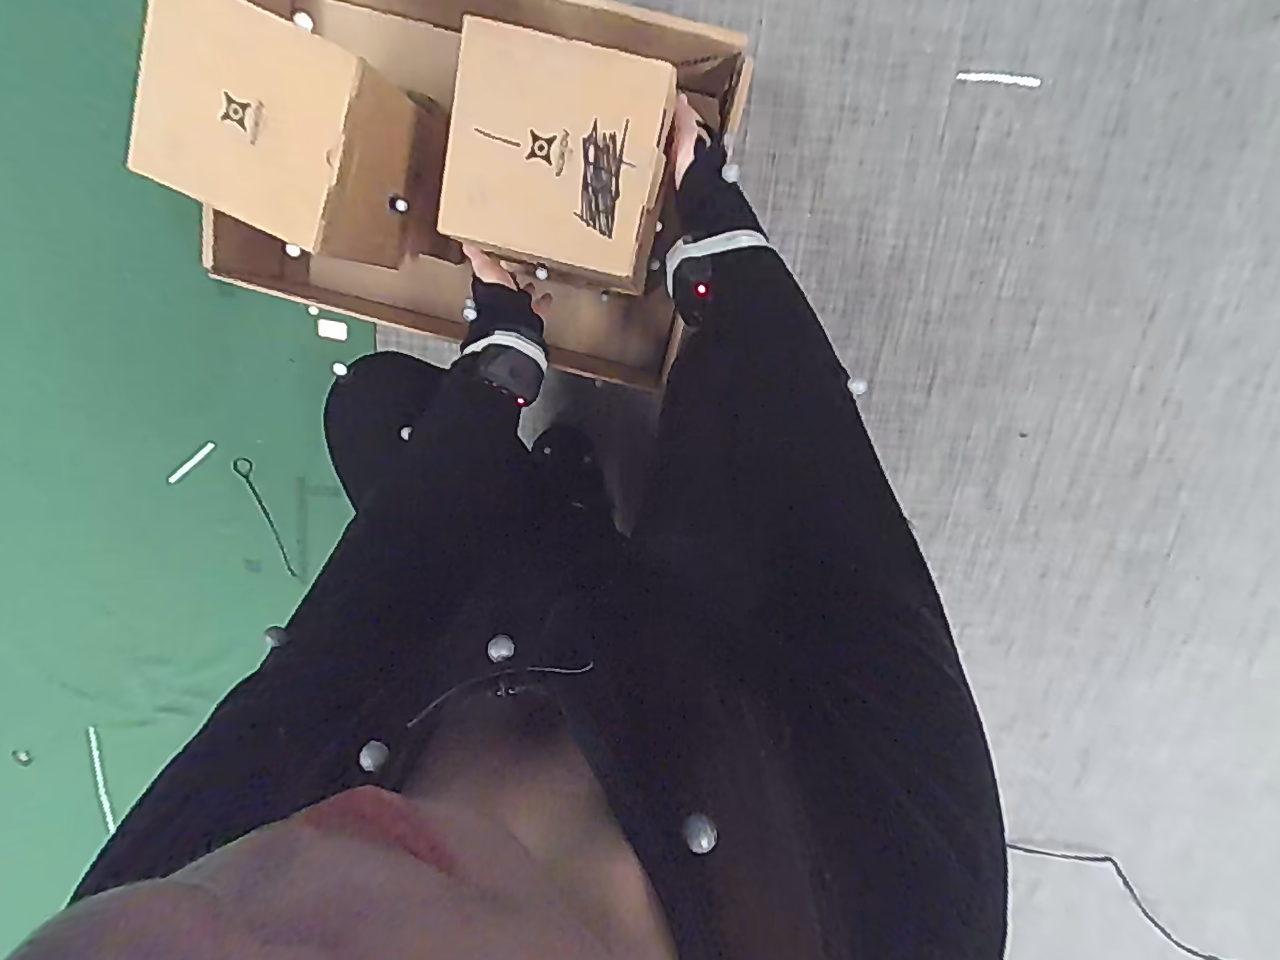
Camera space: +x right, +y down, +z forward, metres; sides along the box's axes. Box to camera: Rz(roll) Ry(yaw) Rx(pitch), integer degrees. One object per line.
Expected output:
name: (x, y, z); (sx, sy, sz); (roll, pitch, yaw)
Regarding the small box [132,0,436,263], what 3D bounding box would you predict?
small box: (-0.338, -0.334, 0.543); (0.179, 0.176, 0.168); (23, 106, -5)
